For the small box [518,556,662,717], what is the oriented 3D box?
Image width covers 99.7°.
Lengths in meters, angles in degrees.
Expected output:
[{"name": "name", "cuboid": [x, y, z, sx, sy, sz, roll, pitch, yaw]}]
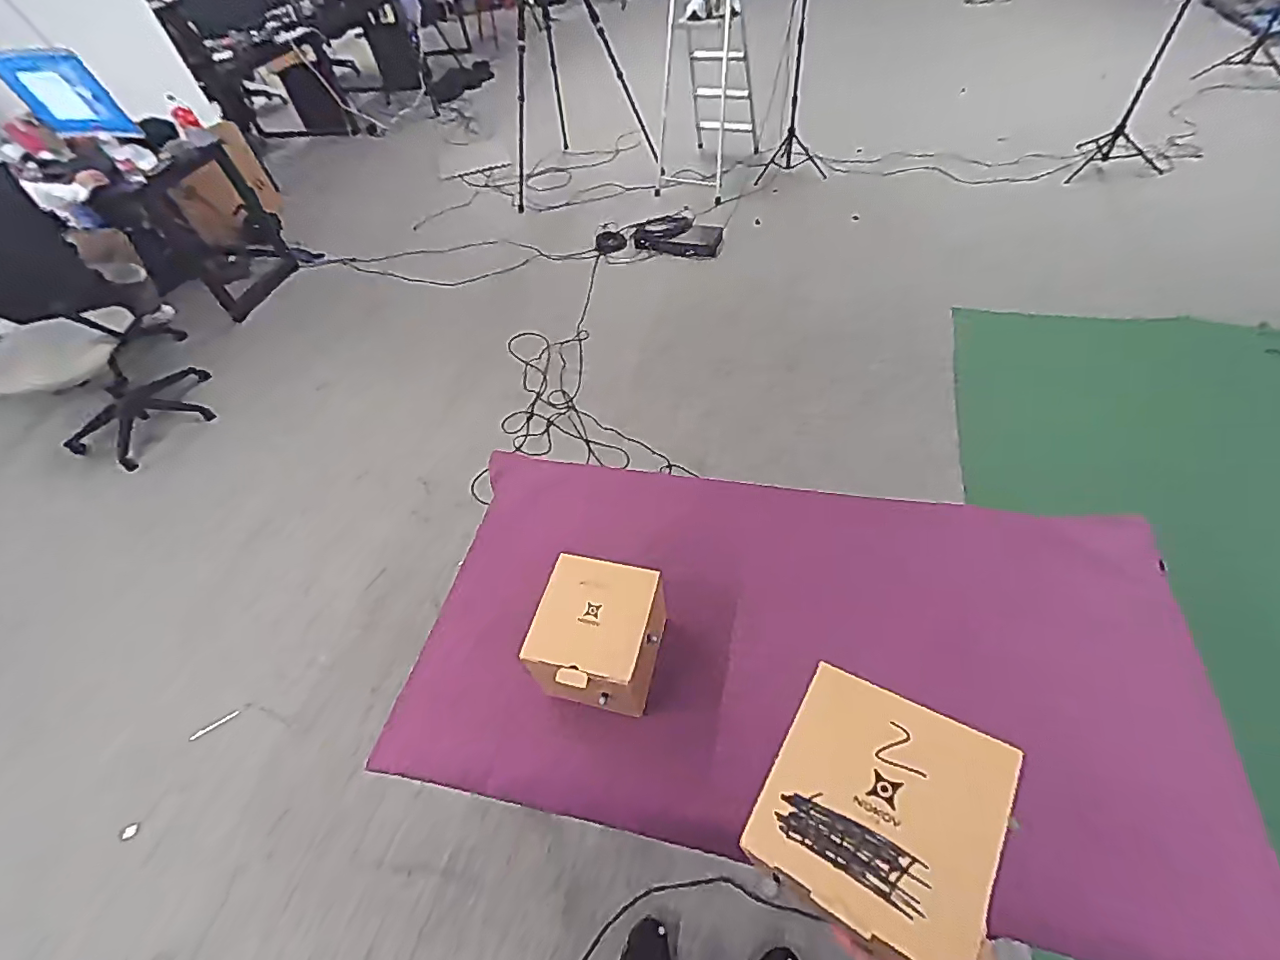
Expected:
[{"name": "small box", "cuboid": [-0.064, 0.248, 0.850, 0.168, 0.176, 0.179, 10, 52, 14]}]
